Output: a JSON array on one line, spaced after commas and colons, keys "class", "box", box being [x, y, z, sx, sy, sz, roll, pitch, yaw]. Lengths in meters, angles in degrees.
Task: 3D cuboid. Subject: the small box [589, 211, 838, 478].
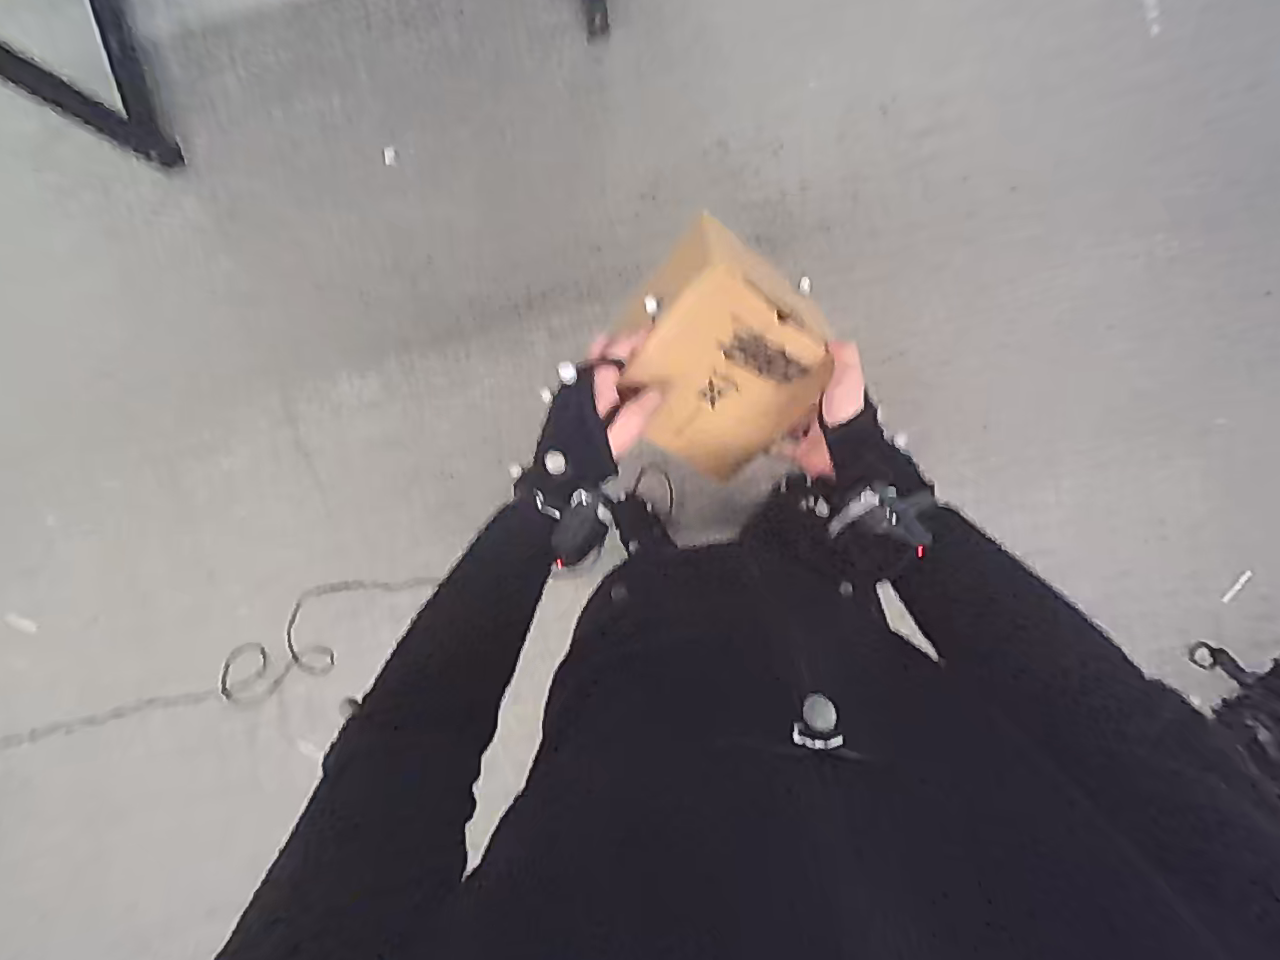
[{"class": "small box", "box": [0.066, -0.143, 0.559, 0.168, 0.176, 0.179, 29, 125, -19]}]
